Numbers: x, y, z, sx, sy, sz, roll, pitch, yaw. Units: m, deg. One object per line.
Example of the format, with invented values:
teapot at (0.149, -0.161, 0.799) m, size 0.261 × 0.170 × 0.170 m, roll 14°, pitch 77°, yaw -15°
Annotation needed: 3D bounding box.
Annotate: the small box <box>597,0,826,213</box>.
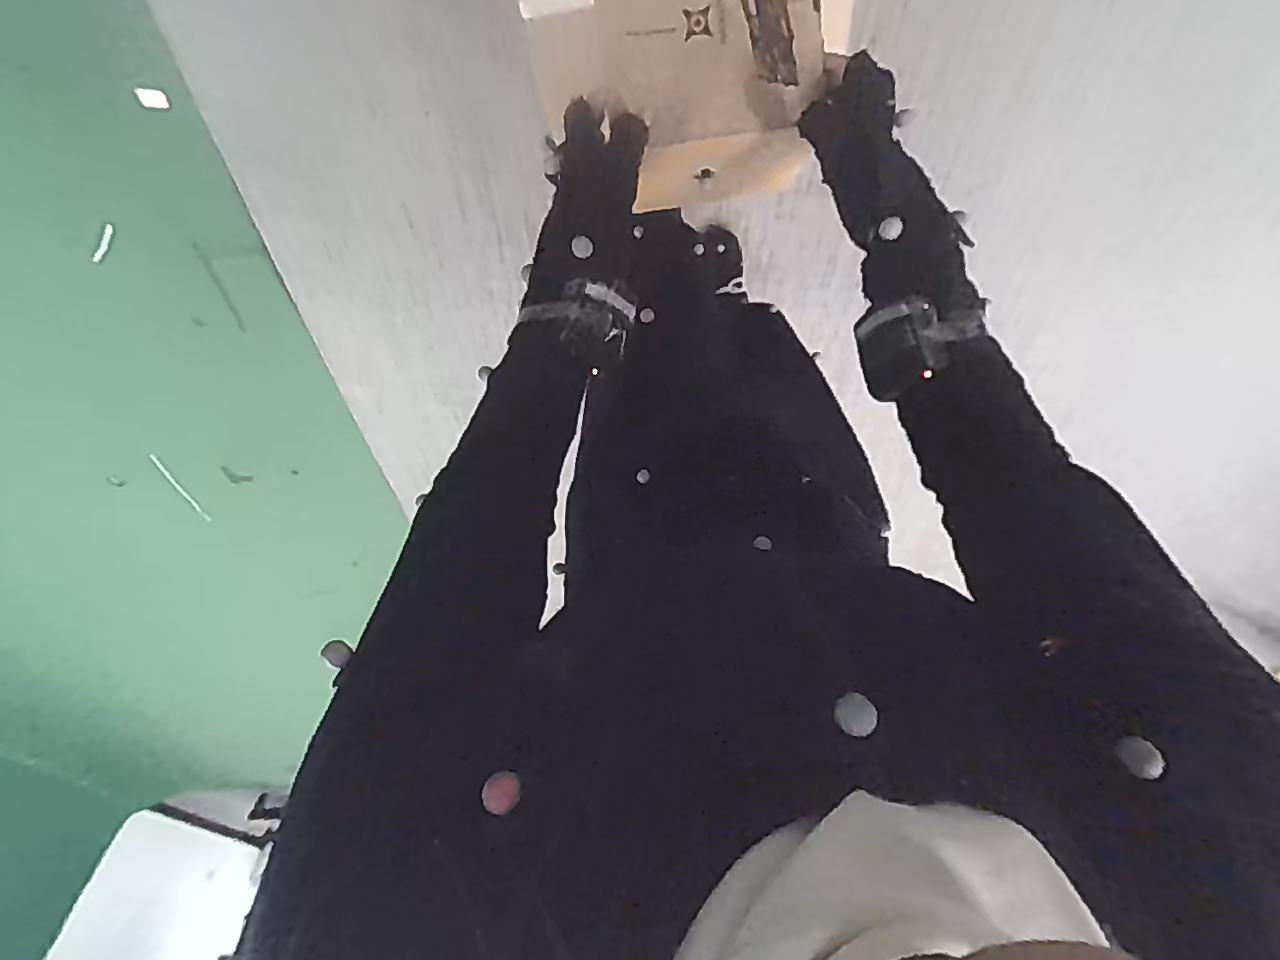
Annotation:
small box at (0.062, -0.366, 0.504) m, size 0.179 × 0.176 × 0.168 m, roll -5°, pitch 101°, yaw 6°
